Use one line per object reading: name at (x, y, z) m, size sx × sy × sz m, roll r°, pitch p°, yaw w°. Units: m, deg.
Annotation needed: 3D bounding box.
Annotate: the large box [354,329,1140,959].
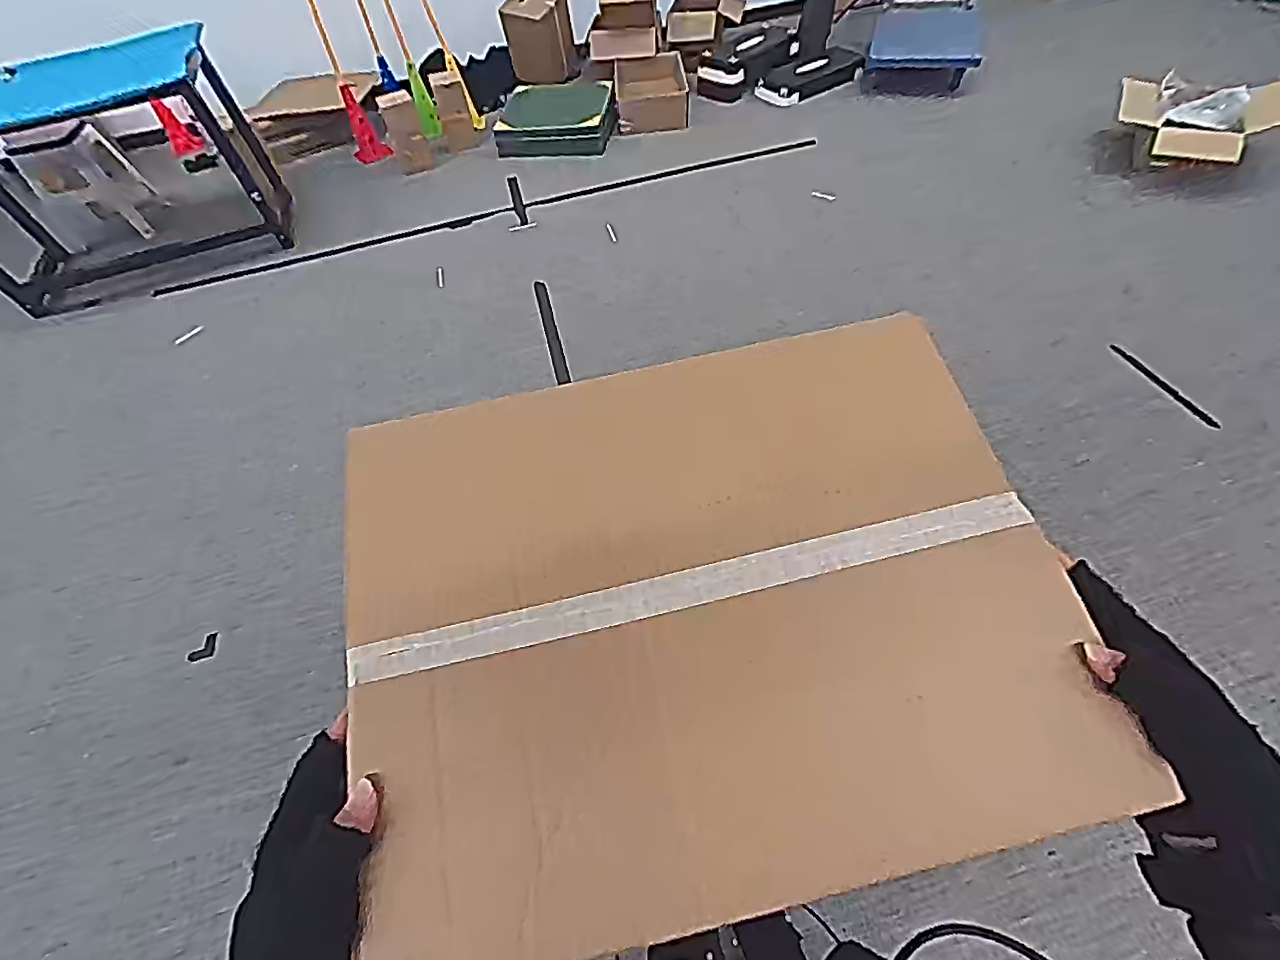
large box at (0.040, 0.129, 0.459) m, size 0.408 × 0.320 × 0.320 m, roll -13°, pitch 66°, yaw -3°
